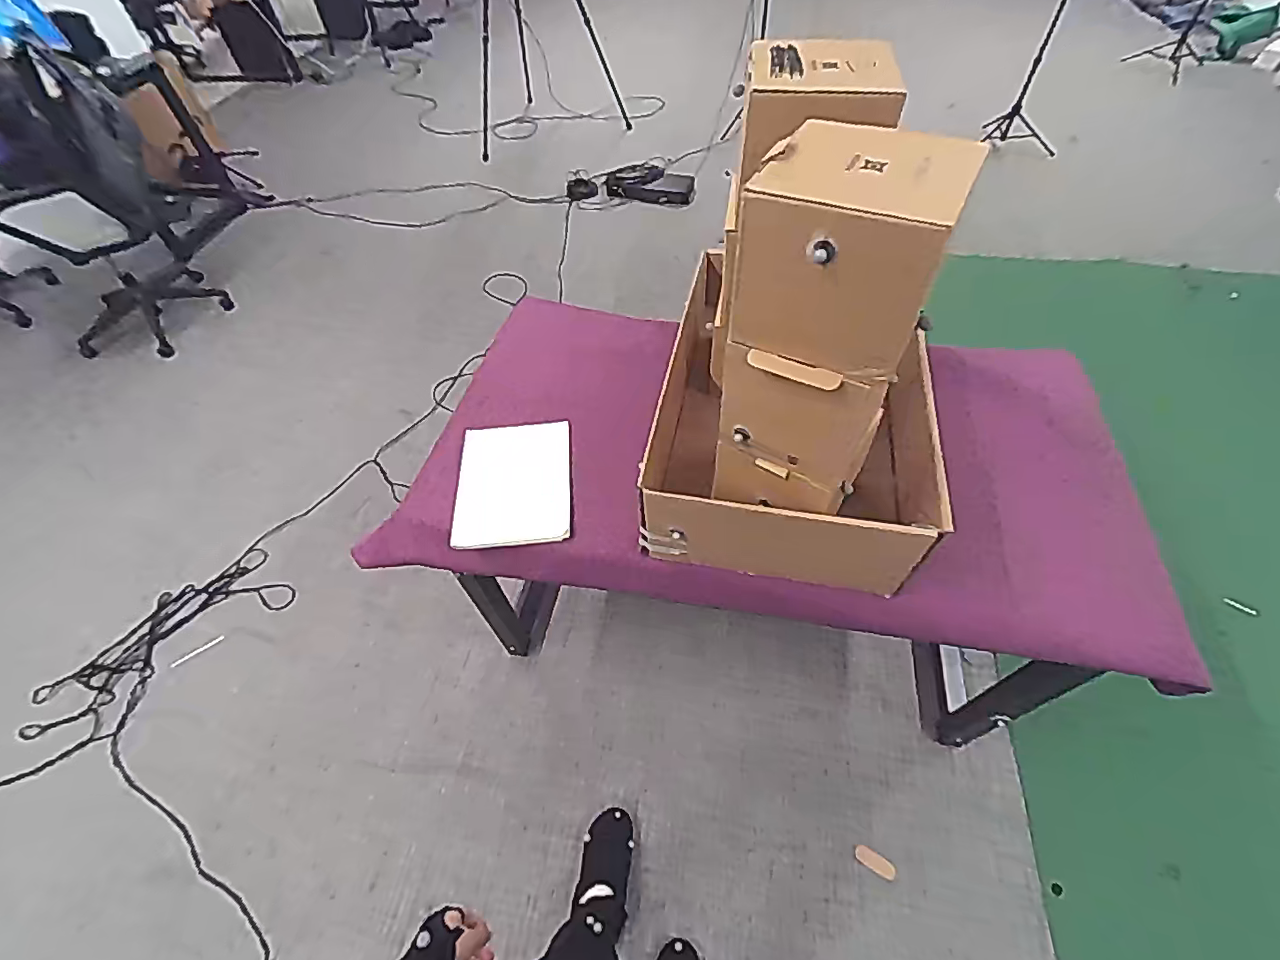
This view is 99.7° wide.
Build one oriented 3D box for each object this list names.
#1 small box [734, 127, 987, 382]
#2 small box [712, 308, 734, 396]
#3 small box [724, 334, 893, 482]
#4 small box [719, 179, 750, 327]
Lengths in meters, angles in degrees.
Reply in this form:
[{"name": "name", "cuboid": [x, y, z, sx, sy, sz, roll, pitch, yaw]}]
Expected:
[{"name": "small box", "cuboid": [0.206, -0.225, 0.544, 0.179, 0.176, 0.168, 23, 57, 21]}, {"name": "small box", "cuboid": [0.224, -0.255, 0.983, 0.168, 0.176, 0.179, 8, 55, 10]}, {"name": "small box", "cuboid": [0.216, -0.127, 0.673, 0.168, 0.176, 0.179, 25, 57, 23]}, {"name": "small box", "cuboid": [0.219, -0.348, 0.850, 0.179, 0.176, 0.168, 6, 55, 8]}]
